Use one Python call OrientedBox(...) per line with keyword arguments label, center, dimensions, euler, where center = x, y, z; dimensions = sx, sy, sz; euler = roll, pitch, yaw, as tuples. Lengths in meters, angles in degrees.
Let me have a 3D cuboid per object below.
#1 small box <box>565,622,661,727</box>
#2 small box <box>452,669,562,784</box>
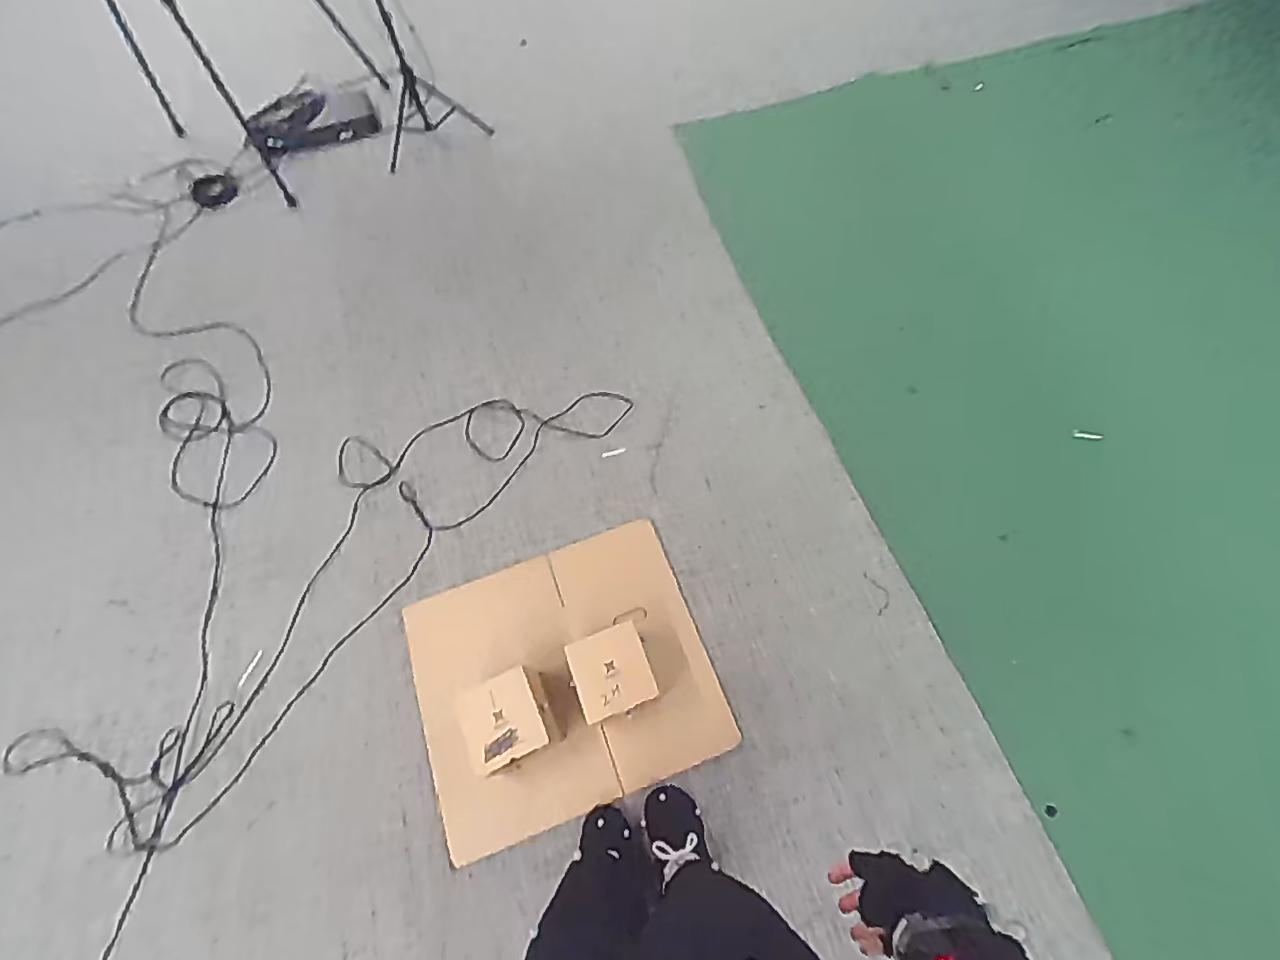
OrientedBox(label="small box", center=(-0.058, 0.452, 1.241), dimensions=(0.168, 0.176, 0.179), euler=(-21, 66, -5))
OrientedBox(label="small box", center=(-0.290, 0.545, 1.206), dimensions=(0.168, 0.176, 0.179), euler=(-25, 66, -8))
